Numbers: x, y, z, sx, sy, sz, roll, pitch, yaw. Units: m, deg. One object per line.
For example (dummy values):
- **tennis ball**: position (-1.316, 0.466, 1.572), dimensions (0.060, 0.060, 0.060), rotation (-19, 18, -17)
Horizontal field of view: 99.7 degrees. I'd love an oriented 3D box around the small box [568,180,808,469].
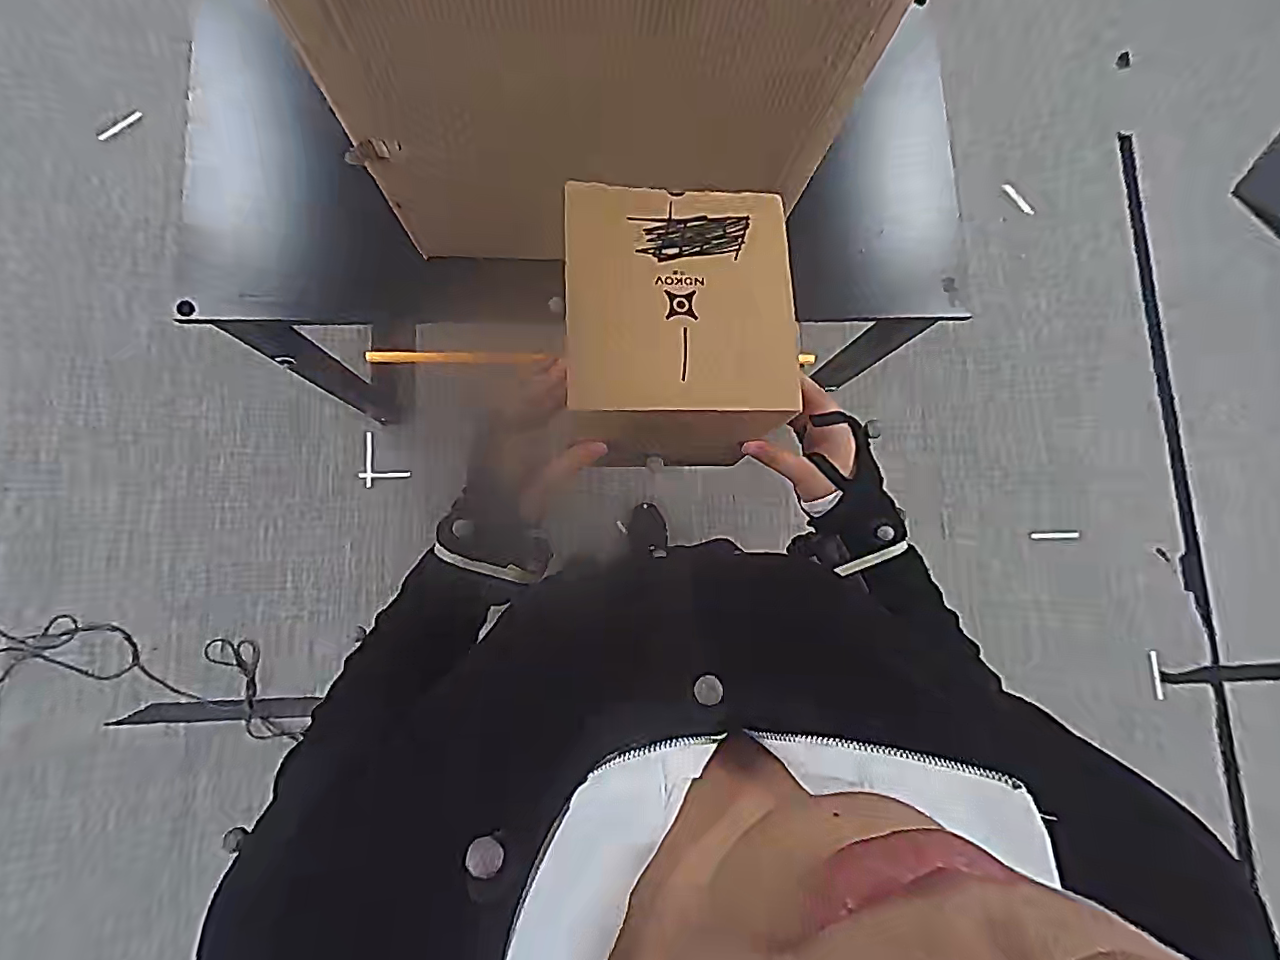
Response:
- **small box**: position (0.023, -0.115, 0.458), dimensions (0.168, 0.176, 0.179), rotation (-1, 78, -7)
